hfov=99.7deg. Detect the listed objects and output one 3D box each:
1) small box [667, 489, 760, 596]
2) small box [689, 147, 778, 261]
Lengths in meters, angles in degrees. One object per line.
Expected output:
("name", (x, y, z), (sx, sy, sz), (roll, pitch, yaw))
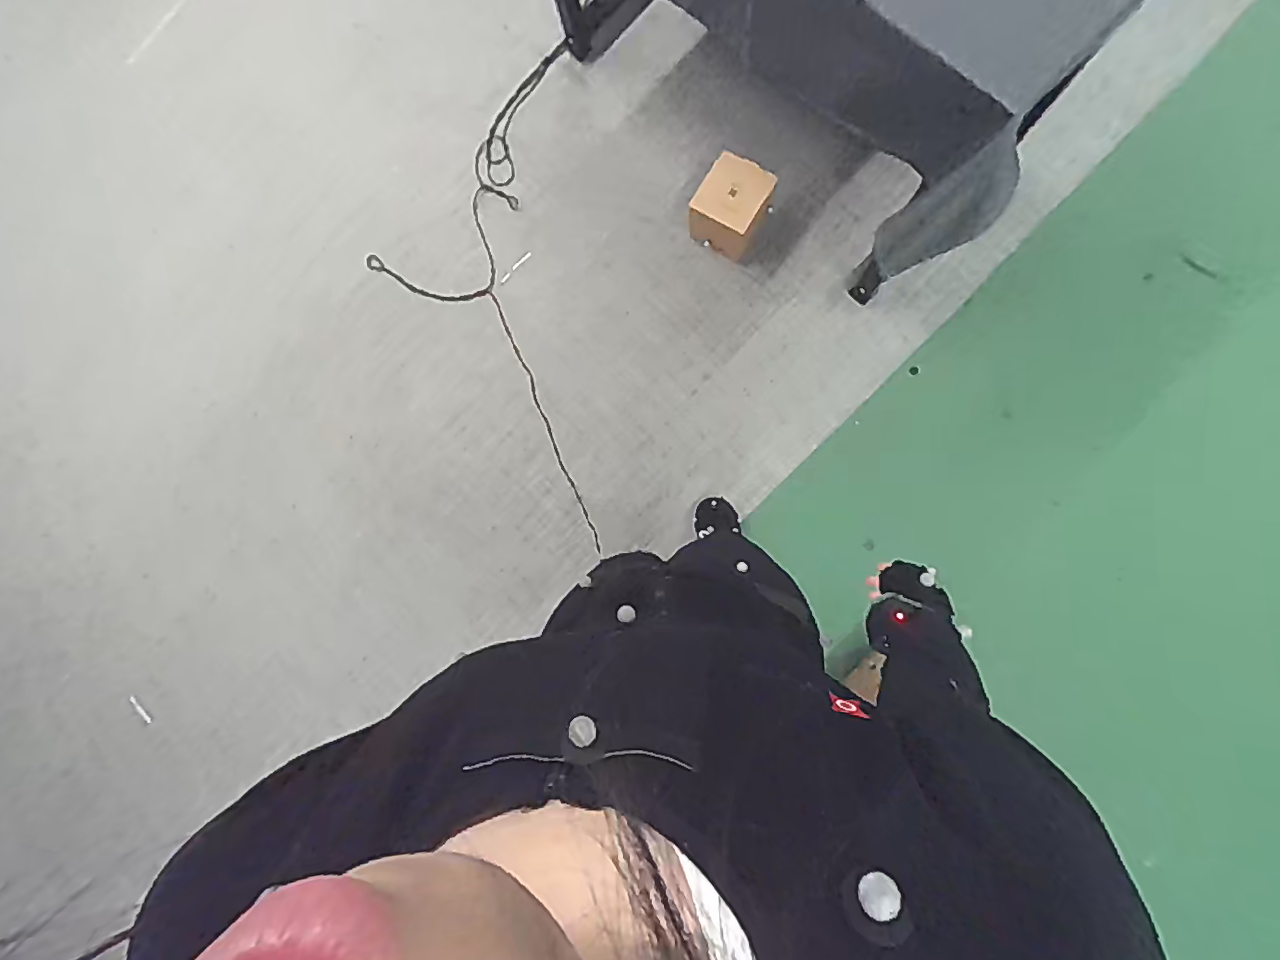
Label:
("small box", (0.193, 0.162, 1.401), (0.168, 0.176, 0.179), (31, 64, 33))
("small box", (0.243, -0.730, 1.448), (0.168, 0.176, 0.179), (33, 90, 8))
